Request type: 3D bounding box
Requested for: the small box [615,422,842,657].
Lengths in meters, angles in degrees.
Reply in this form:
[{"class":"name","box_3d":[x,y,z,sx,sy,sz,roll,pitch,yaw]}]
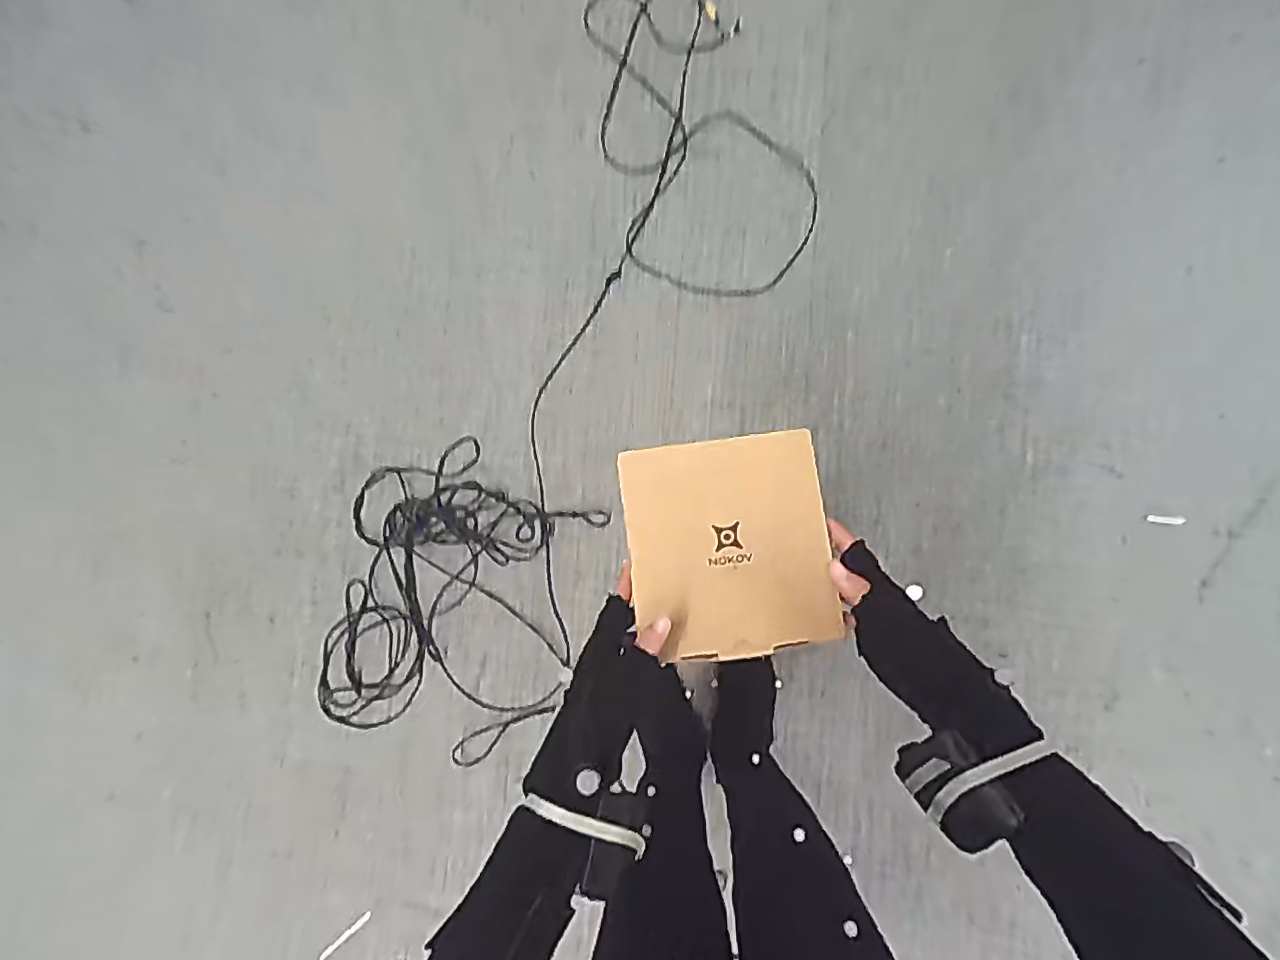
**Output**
[{"class":"small box","box_3d":[0.070,0.058,0.515,0.168,0.176,0.179,-8,82,1]}]
